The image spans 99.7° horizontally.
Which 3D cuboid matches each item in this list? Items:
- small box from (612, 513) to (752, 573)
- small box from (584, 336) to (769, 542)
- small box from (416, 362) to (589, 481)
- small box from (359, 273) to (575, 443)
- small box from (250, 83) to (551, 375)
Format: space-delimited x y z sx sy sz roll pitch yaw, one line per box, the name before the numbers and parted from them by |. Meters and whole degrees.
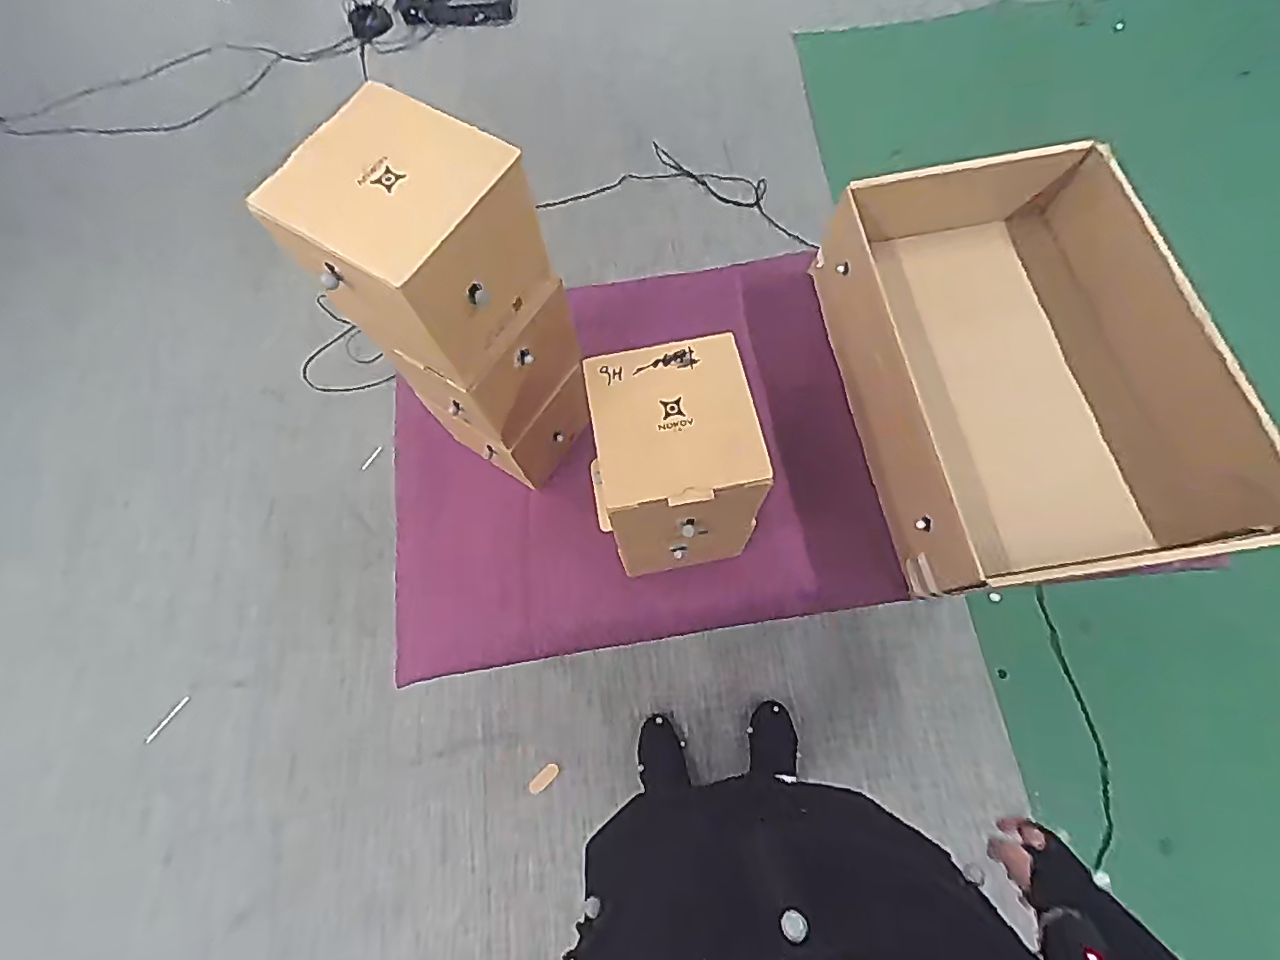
small box | 0.047 0.027 0.772 0.179 0.176 0.168 -11 70 -1
small box | 0.037 -0.034 0.620 0.168 0.176 0.179 -10 70 -1
small box | -0.196 -0.117 0.835 0.179 0.176 0.168 32 74 13
small box | -0.199 -0.175 0.683 0.168 0.176 0.179 32 75 11
small box | -0.210 -0.229 0.531 0.179 0.176 0.168 30 75 12
